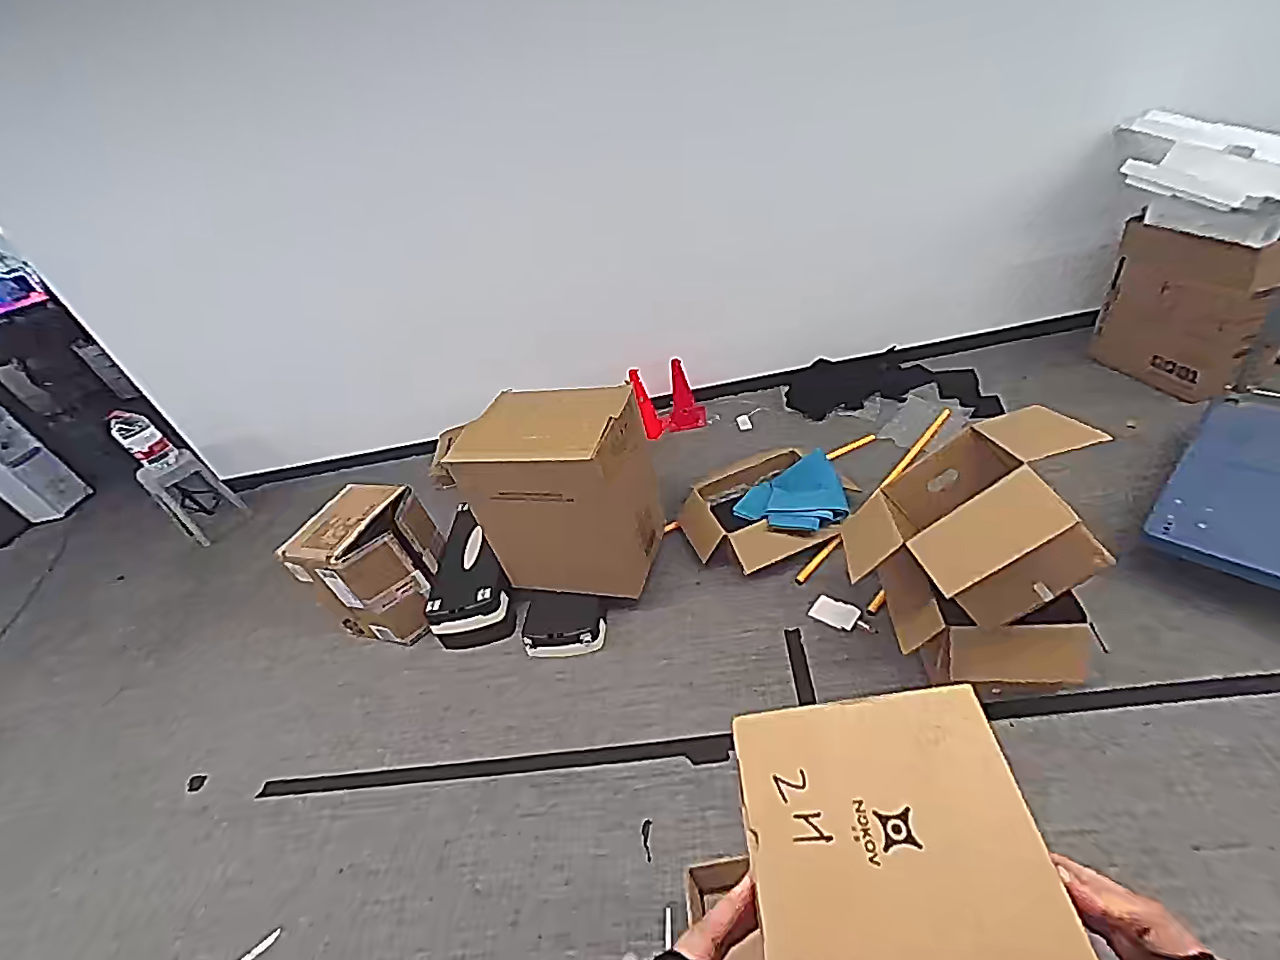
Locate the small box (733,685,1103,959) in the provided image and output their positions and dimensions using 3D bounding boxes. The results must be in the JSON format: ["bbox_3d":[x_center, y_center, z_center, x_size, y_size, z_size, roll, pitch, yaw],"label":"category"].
[{"bbox_3d":[0.178,0.274,0.396,0.179,0.176,0.168,-14,43,11],"label":"small box"}]
